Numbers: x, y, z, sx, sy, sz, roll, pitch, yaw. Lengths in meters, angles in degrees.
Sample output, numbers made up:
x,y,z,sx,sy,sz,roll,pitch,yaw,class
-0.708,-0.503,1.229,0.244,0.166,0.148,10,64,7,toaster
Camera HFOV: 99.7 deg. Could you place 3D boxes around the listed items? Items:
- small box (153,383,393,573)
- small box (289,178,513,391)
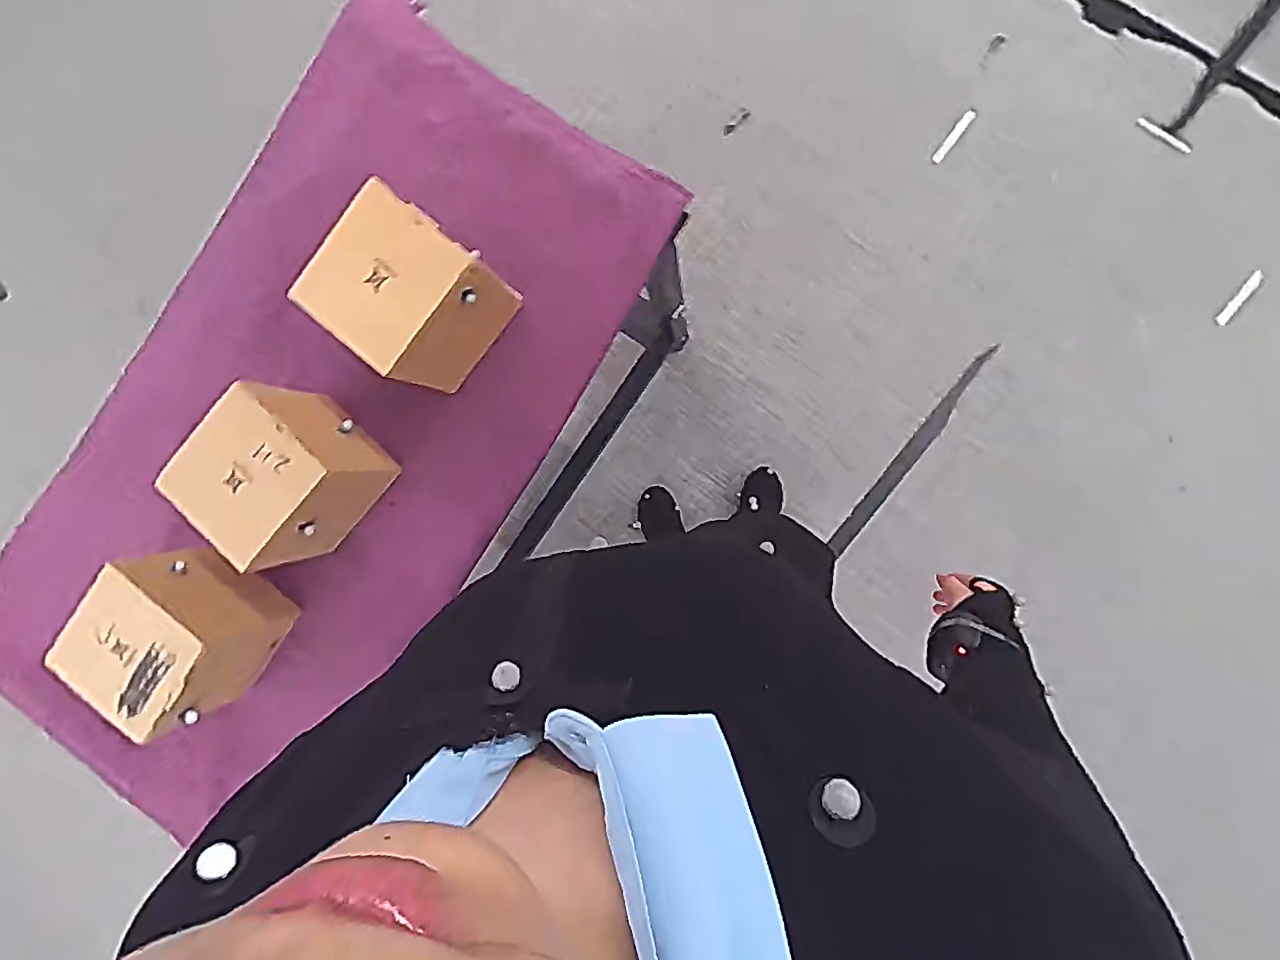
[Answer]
x,y,z,sx,sy,sz,roll,pitch,yaw,class
-0.482,-0.003,0.737,0.168,0.176,0.179,43,95,3,small box
-0.298,-0.238,0.713,0.168,0.176,0.179,39,95,6,small box
